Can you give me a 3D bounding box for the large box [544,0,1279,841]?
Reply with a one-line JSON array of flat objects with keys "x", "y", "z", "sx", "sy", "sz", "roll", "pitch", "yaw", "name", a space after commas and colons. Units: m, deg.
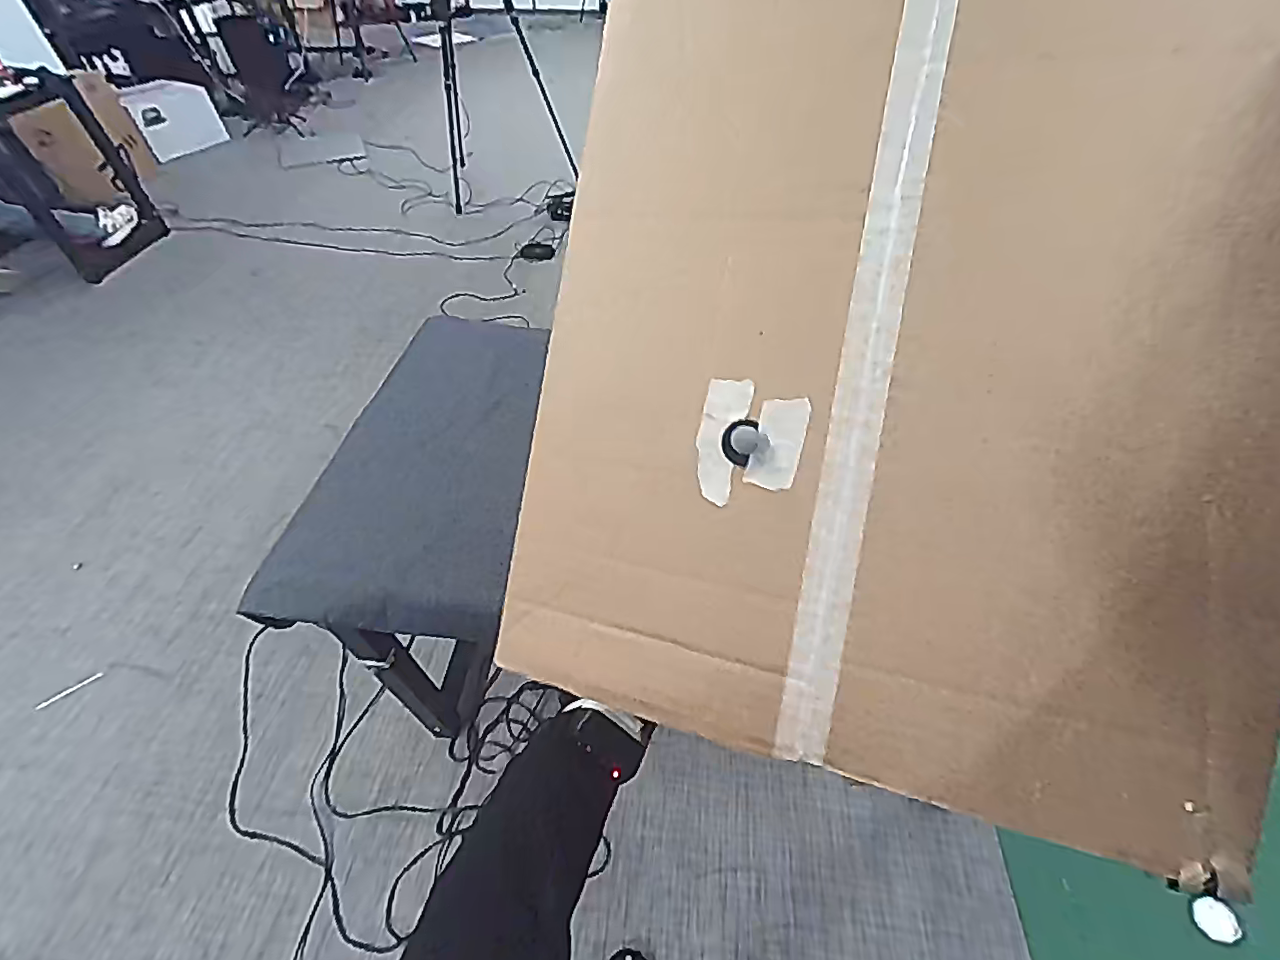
[{"x": 0.157, "y": -0.069, "z": 0.398, "sx": 0.320, "sy": 0.320, "sz": 0.408, "roll": 9, "pitch": 92, "yaw": 17, "name": "large box"}]
